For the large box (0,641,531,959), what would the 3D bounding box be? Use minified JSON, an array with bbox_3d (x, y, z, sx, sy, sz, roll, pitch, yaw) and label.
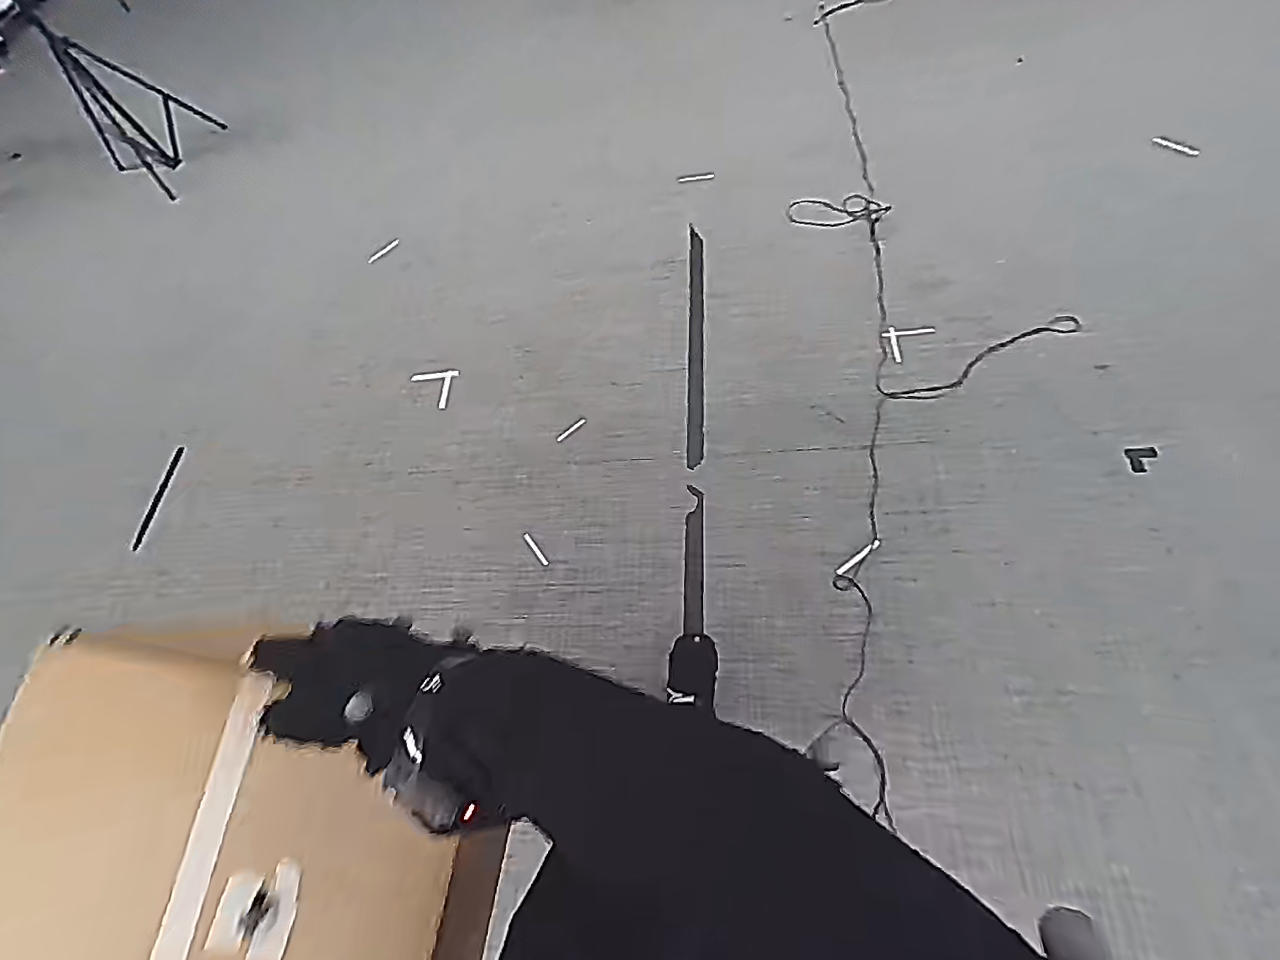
[{"bbox_3d":[-0.299,0.371,0.484,0.320,0.320,0.408,8,74,-2],"label":"large box"}]
